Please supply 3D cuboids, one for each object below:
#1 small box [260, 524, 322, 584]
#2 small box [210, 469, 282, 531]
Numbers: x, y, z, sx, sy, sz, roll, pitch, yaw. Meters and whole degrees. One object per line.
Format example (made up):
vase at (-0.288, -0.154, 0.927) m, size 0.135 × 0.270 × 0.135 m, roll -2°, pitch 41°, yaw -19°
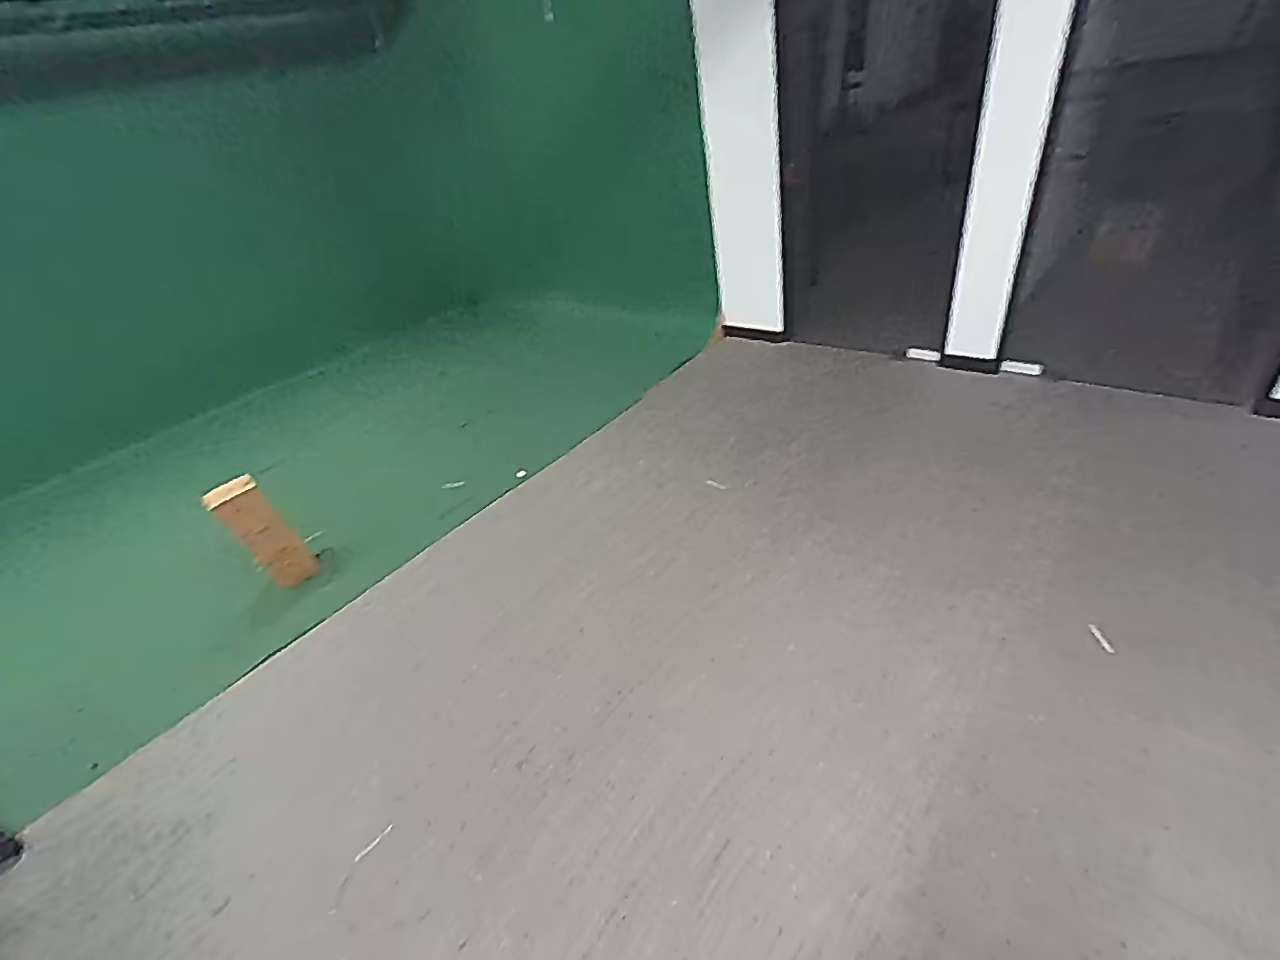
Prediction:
small box at (-1.591, 0.340, 2.476) m, size 0.179 × 0.176 × 0.168 m, roll -36°, pitch 43°, yaw -28°
small box at (-1.657, 0.086, 2.278) m, size 0.179 × 0.176 × 0.168 m, roll -37°, pitch 42°, yaw -29°
